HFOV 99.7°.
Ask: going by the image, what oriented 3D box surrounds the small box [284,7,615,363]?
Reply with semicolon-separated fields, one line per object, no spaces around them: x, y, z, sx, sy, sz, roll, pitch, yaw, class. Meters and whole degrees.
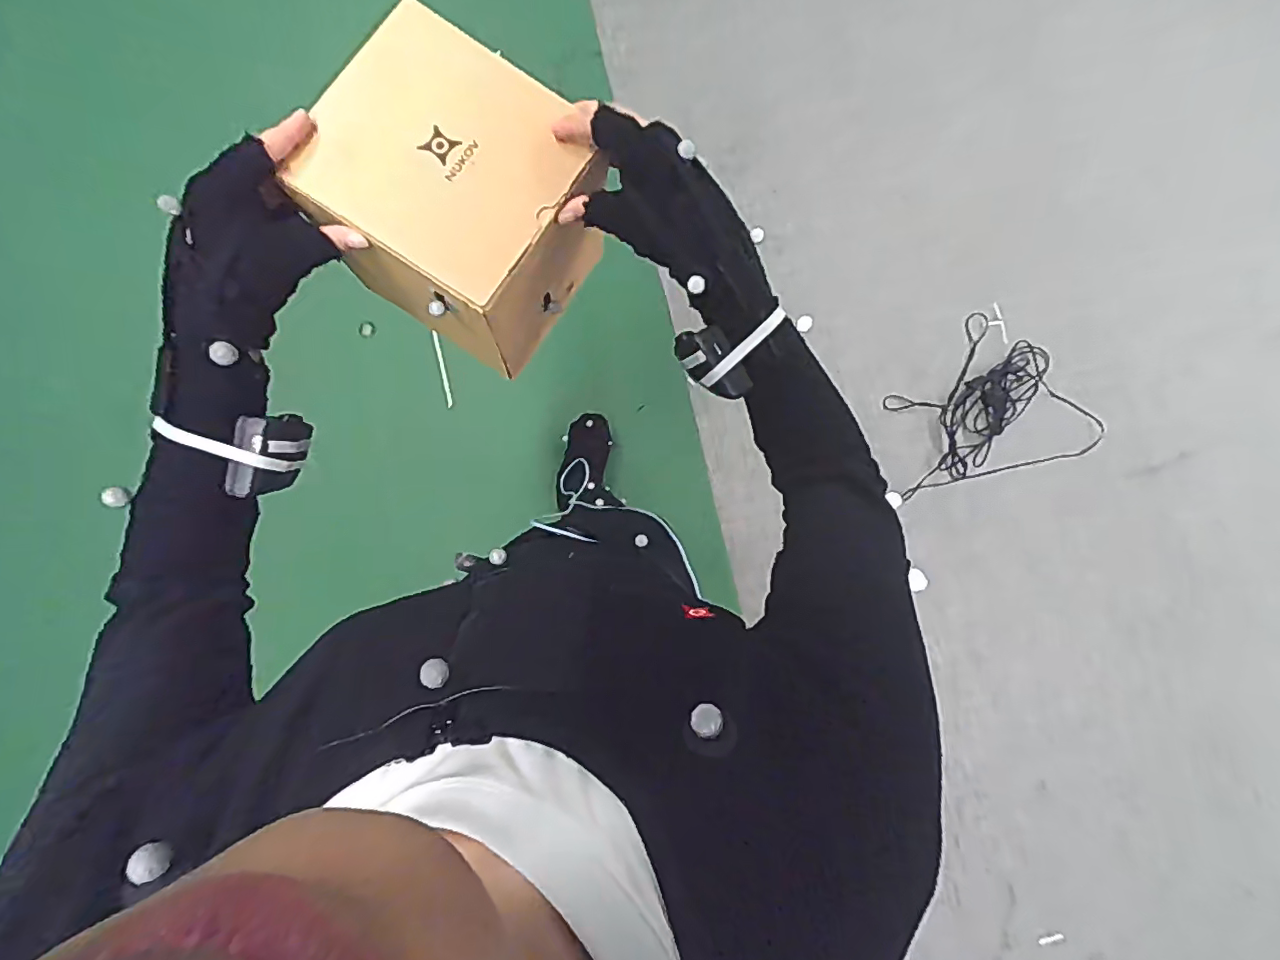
-0.144;-0.228;0.468;0.179;0.176;0.168;34;81;-4;small box
